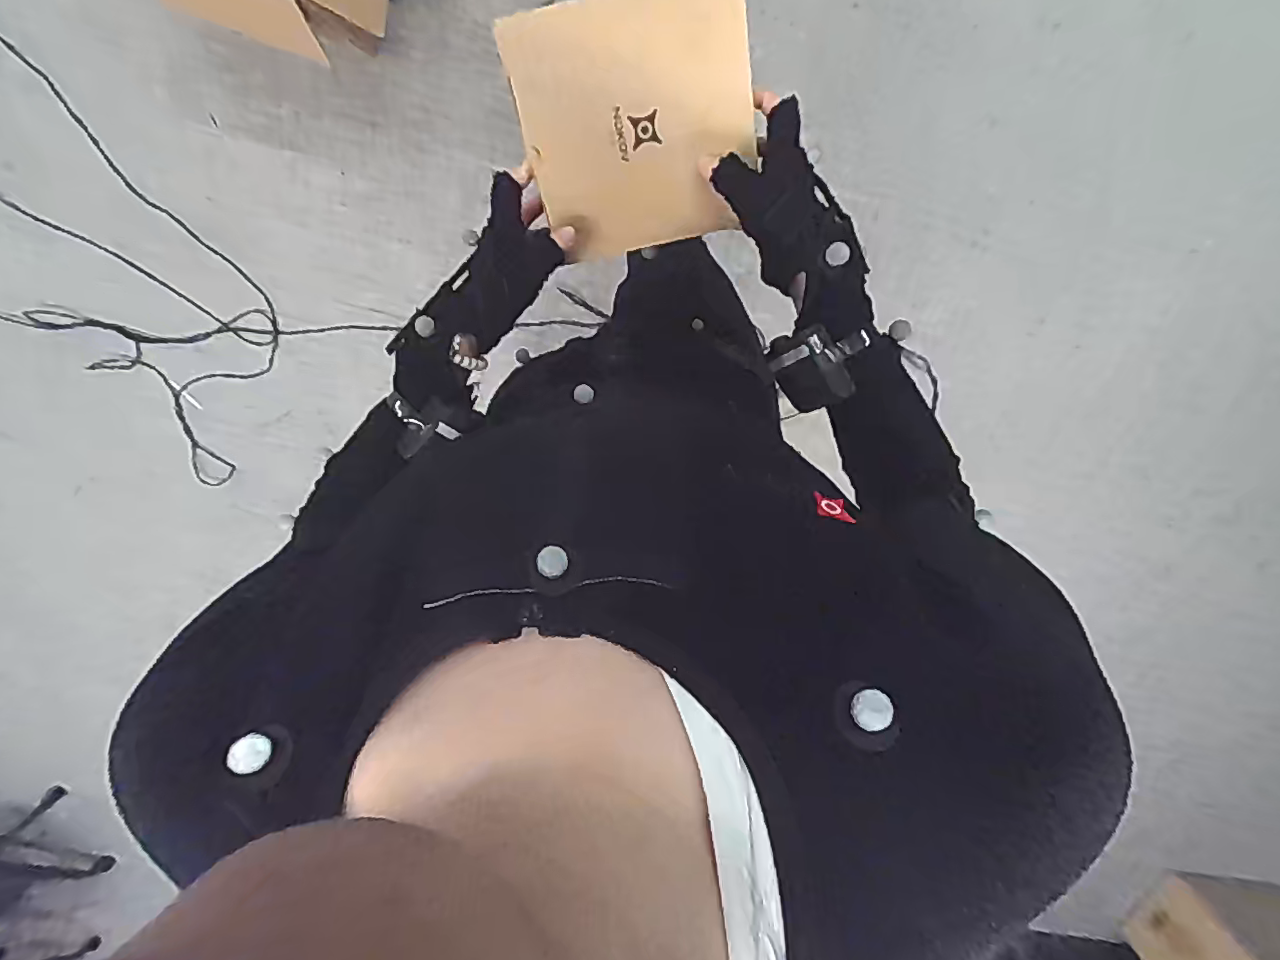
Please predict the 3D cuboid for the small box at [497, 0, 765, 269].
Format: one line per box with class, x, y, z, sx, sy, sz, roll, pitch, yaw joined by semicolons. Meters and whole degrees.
small box;-0.001;-0.303;0.467;0.179;0.176;0.168;-11;124;6
